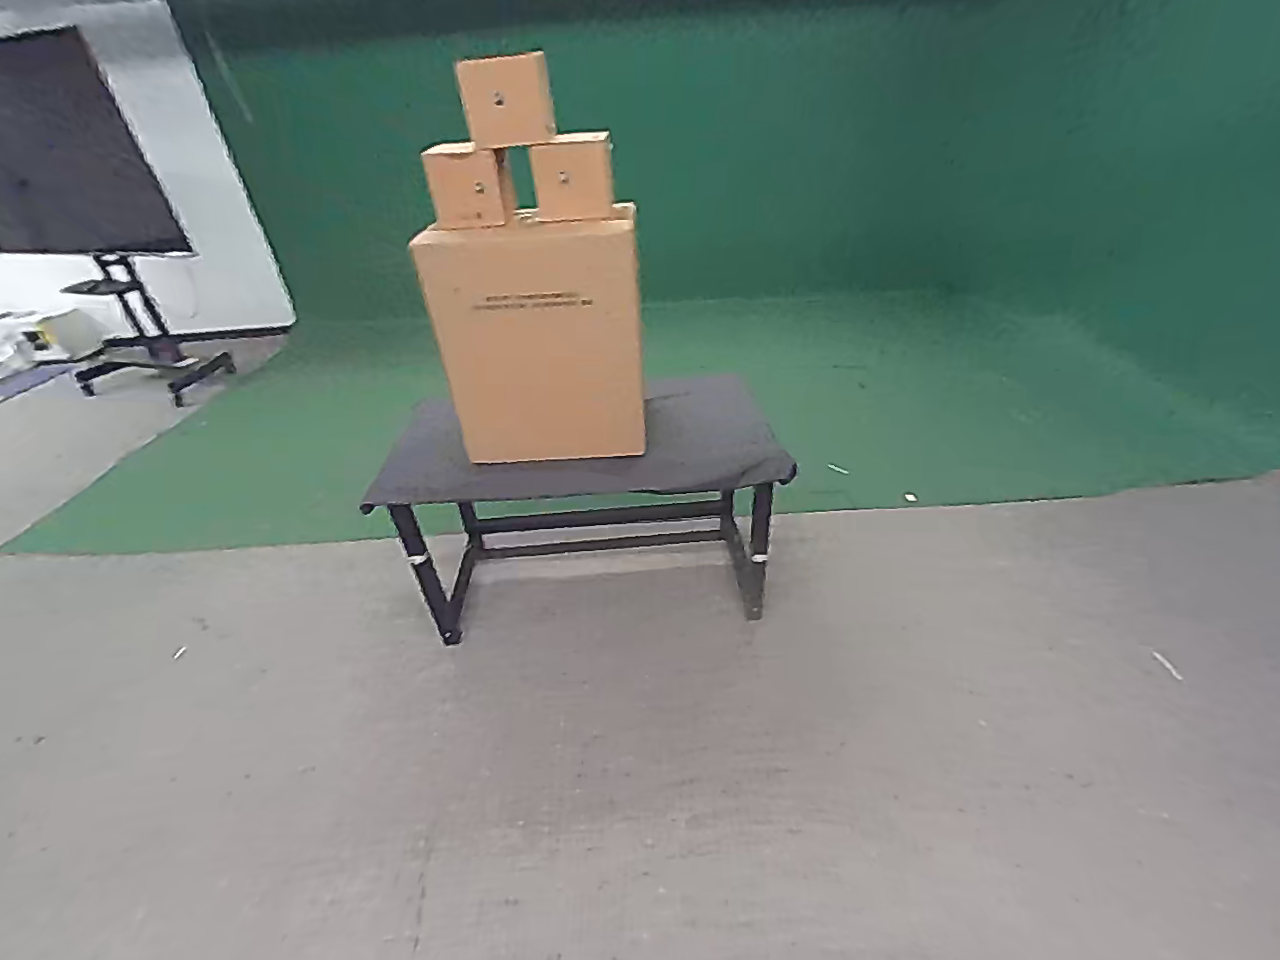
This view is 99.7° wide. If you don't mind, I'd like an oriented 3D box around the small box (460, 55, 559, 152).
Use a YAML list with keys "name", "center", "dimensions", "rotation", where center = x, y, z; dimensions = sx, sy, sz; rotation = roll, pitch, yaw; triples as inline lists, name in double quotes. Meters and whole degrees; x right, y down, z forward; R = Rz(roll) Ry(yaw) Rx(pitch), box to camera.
- name: "small box"
  center: [-0.294, -0.881, 1.265]
  dimensions: [0.179, 0.176, 0.168]
  rotation: [-5, 38, 3]

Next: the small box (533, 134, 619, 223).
- name: "small box"
  center: [-0.154, -0.758, 1.361]
  dimensions: [0.179, 0.176, 0.168]
  rotation: [-3, 38, 4]

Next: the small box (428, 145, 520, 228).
- name: "small box"
  center: [-0.410, -0.743, 1.371]
  dimensions: [0.168, 0.176, 0.179]
  rotation: [-2, 36, 1]
